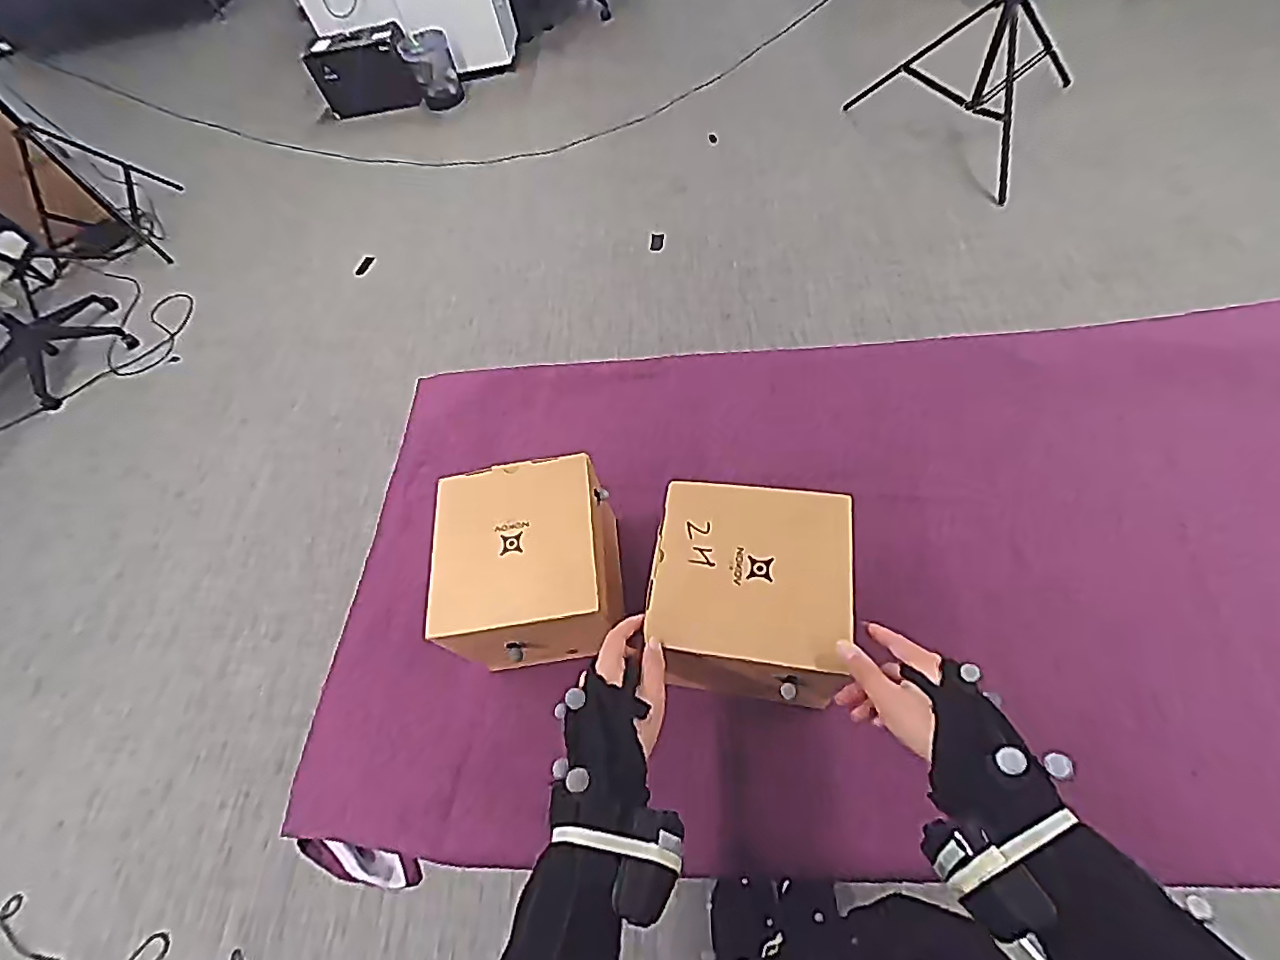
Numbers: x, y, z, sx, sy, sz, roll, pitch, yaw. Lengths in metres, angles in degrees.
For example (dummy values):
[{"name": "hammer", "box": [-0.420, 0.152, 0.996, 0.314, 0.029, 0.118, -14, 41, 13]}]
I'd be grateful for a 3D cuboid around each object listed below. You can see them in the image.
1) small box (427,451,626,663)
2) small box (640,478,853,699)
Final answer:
[{"name": "small box", "box": [-0.116, 0.097, 0.605, 0.168, 0.176, 0.179, -11, 58, 4]}, {"name": "small box", "box": [0.110, 0.116, 0.553, 0.179, 0.176, 0.168, 4, 59, 13]}]
